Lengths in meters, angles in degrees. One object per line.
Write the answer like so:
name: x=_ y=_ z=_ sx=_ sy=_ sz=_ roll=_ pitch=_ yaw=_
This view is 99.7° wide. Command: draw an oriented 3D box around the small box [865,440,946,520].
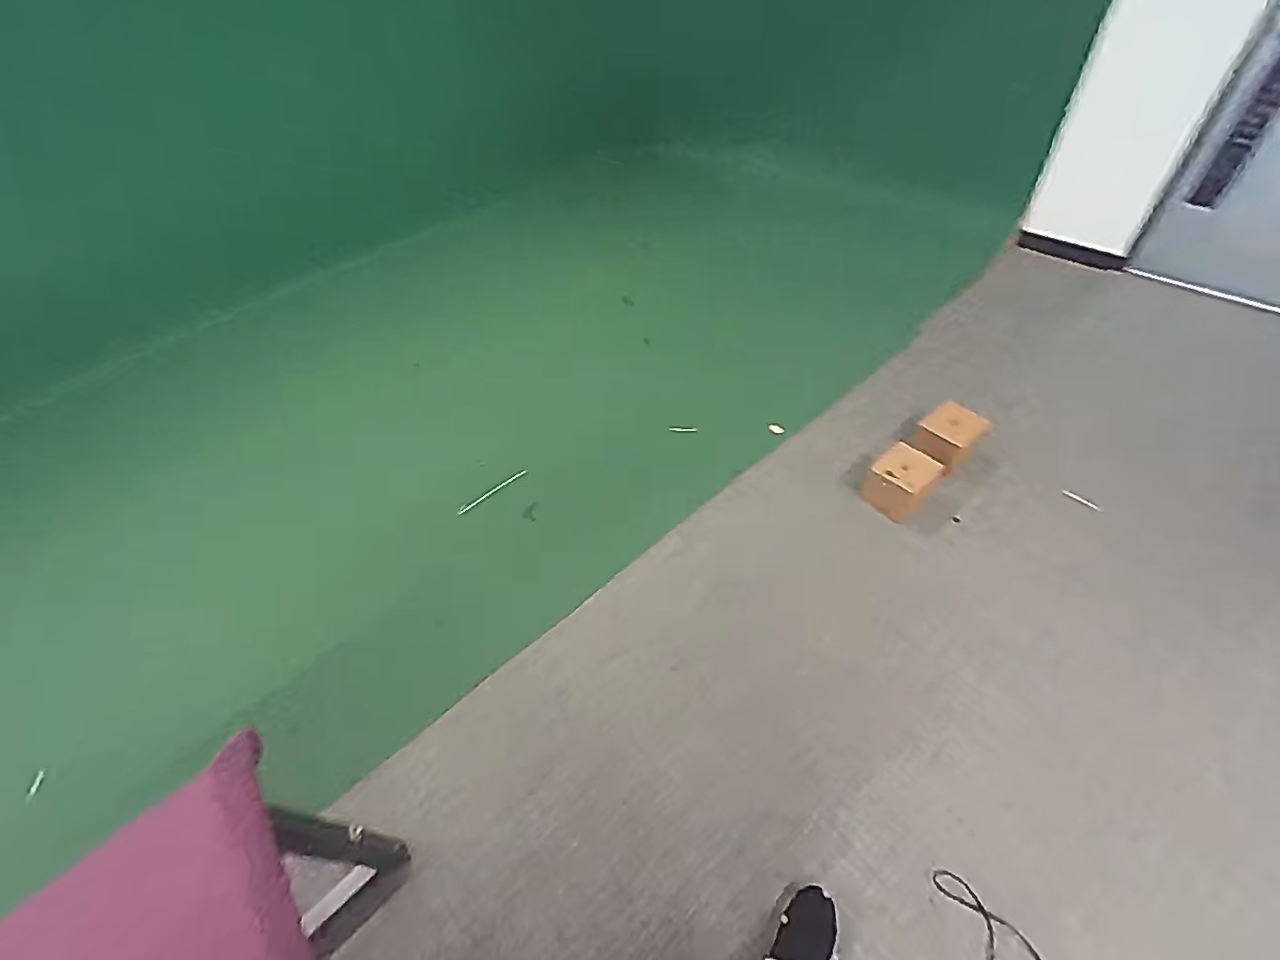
small box: x=0.898 y=0.001 z=1.845 sx=0.179 sy=0.176 sz=0.168 roll=-36 pitch=53 yaw=-20
